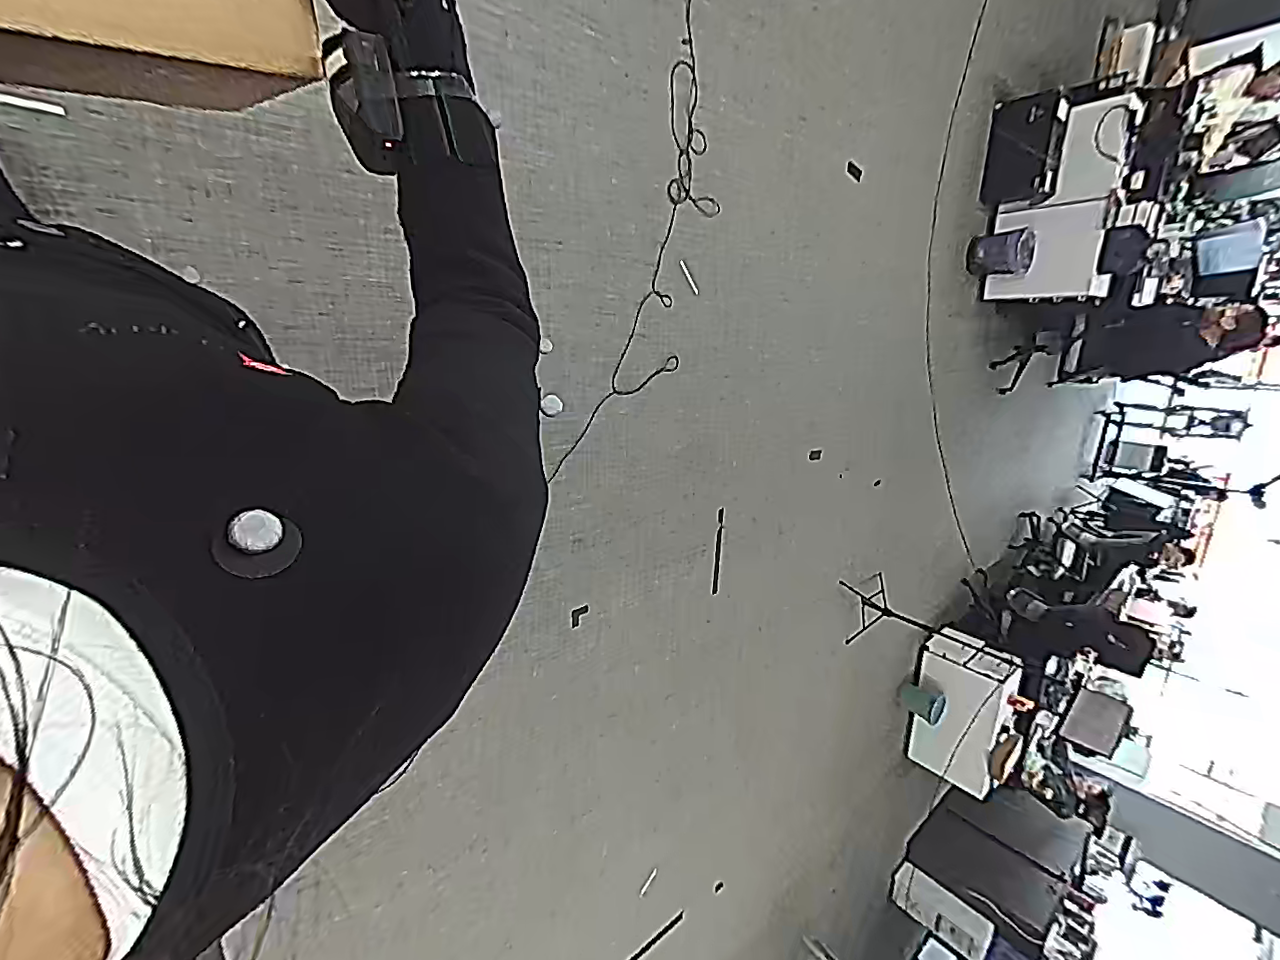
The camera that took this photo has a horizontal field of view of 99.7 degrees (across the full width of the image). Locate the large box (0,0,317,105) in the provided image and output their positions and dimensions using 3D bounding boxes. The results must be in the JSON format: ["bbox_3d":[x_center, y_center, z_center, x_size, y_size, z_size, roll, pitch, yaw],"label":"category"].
[{"bbox_3d":[-0.452,-0.398,0.260,0.408,0.320,0.320,-21,127,-38],"label":"large box"}]
